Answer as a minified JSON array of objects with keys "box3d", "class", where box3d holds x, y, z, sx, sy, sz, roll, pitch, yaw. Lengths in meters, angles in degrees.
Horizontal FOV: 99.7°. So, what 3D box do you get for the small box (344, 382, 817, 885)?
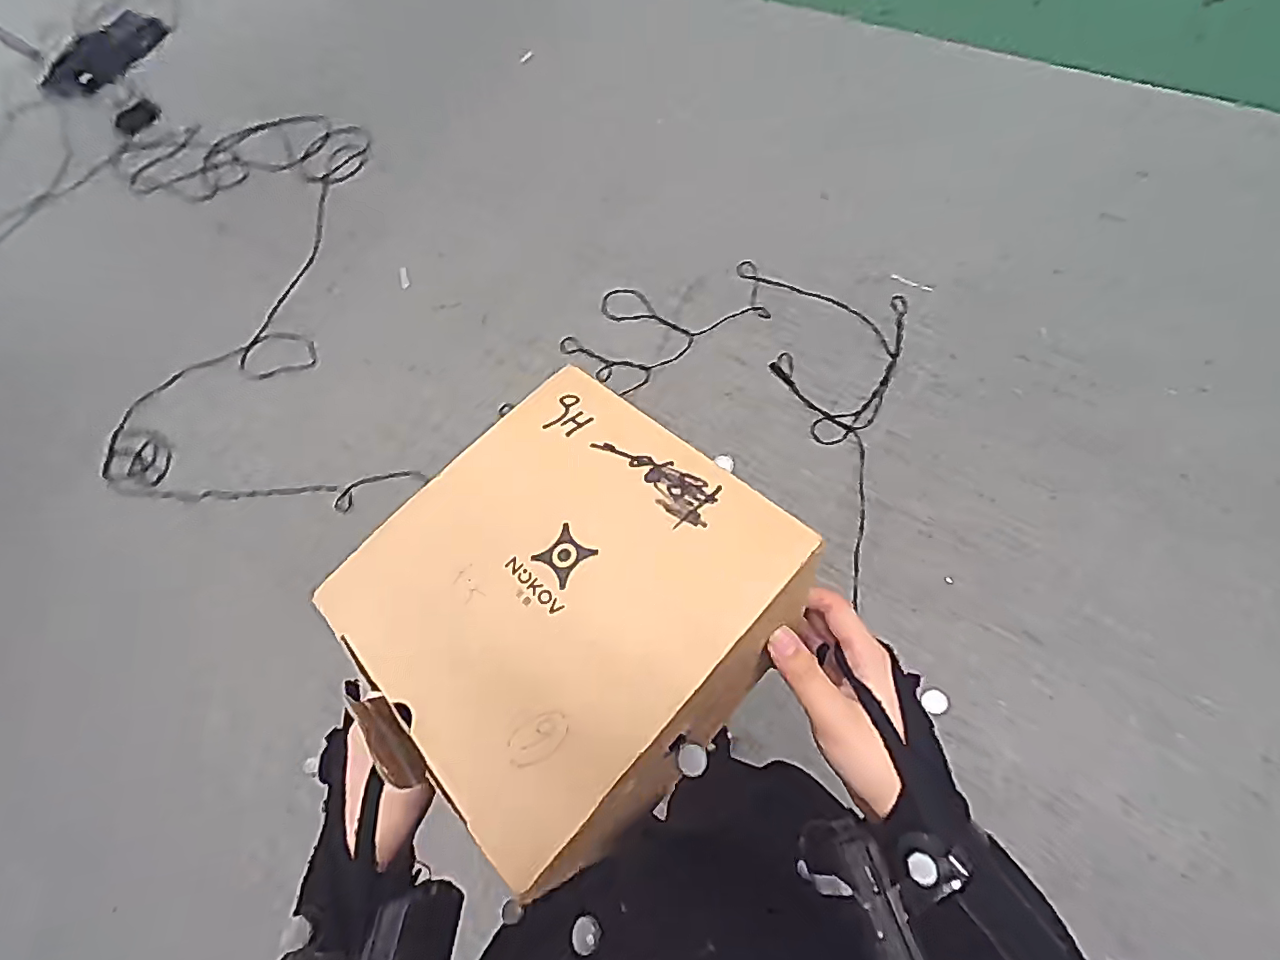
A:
[{"box3d":[-0.019,0.084,0.321,0.168,0.176,0.179,38,75,26],"class":"small box"}]
